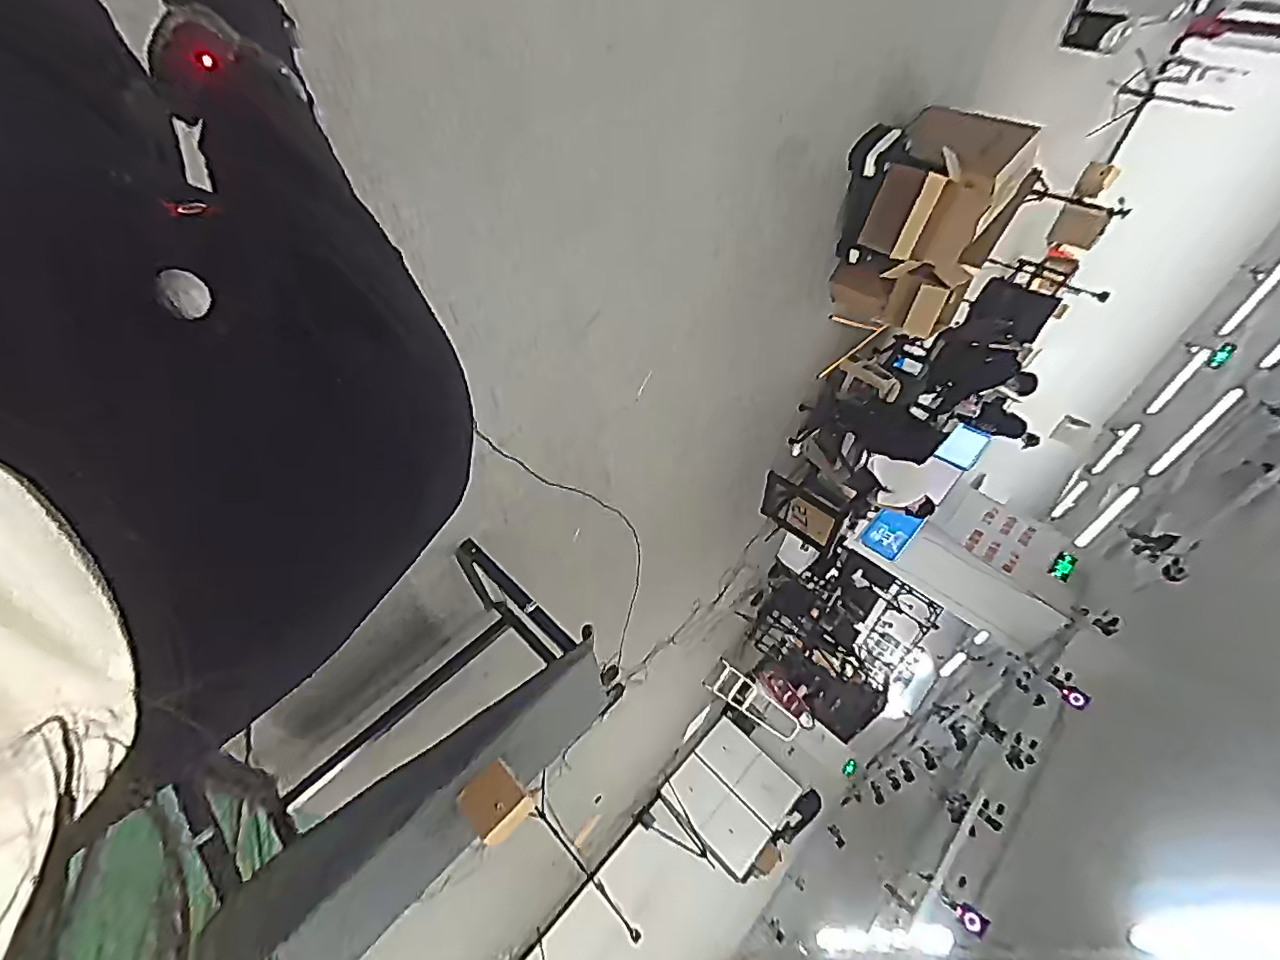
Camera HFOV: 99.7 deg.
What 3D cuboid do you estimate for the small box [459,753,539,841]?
[{"bbox_3d":[-0.463,1.039,1.779,0.179,0.176,0.168,-39,148,-25],"label":"small box"}]
